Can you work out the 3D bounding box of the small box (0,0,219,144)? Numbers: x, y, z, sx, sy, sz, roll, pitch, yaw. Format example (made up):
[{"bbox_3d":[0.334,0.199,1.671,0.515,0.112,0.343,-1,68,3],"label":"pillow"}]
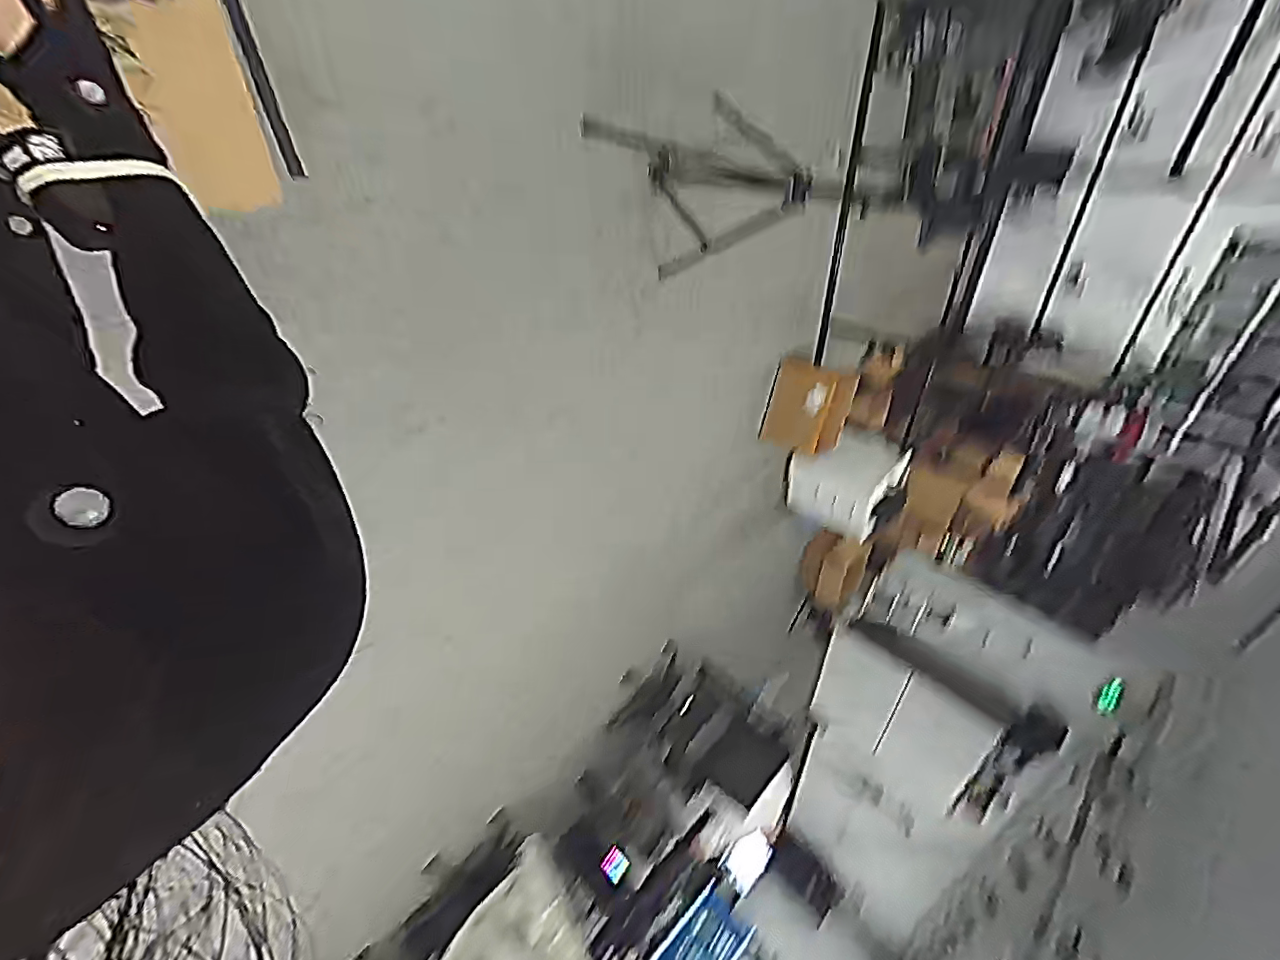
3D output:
[{"bbox_3d":[-0.691,-0.543,0.694,0.168,0.176,0.179,-29,135,-32],"label":"small box"}]
